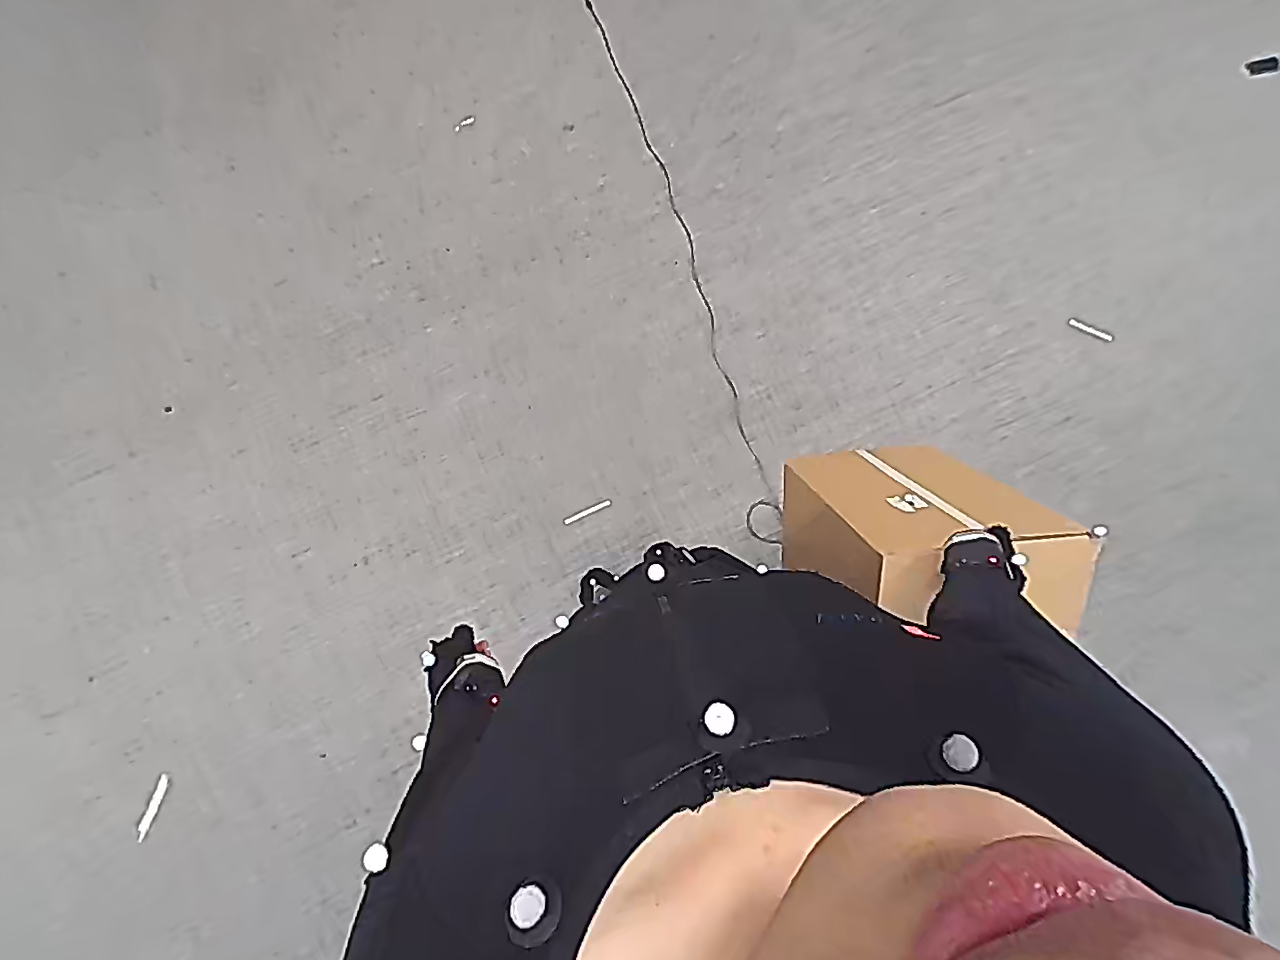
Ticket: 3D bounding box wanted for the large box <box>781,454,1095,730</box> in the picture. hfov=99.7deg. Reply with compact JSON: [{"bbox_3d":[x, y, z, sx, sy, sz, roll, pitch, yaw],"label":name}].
[{"bbox_3d":[0.475,0.170,0.982,0.320,0.408,0.320,-6,112,-3],"label":"large box"}]
